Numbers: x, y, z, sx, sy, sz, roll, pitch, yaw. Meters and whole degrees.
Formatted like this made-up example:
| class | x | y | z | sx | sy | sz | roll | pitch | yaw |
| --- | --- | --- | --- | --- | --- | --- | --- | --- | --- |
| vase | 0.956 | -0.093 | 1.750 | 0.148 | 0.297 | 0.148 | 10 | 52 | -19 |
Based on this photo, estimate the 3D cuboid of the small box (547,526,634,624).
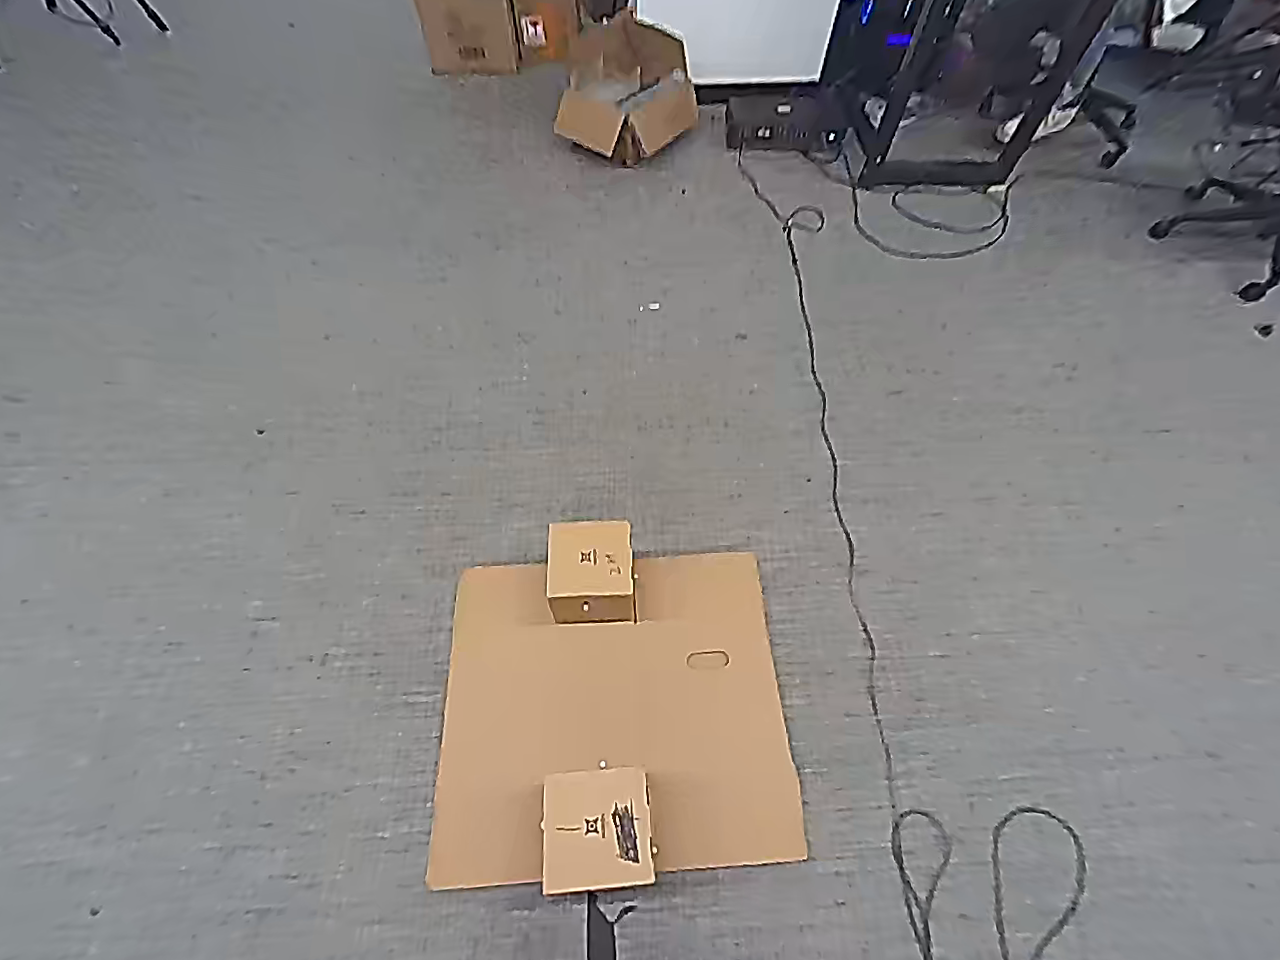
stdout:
| class | x | y | z | sx | sy | sz | roll | pitch | yaw |
| --- | --- | --- | --- | --- | --- | --- | --- | --- | --- |
| small box | -0.103 | 0.212 | 1.188 | 0.179 | 0.176 | 0.168 | 0 | 59 | -3 |

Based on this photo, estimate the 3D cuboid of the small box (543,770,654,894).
| class | x | y | z | sx | sy | sz | roll | pitch | yaw |
| --- | --- | --- | --- | --- | --- | --- | --- | --- | --- |
| small box | -0.072 | 0.609 | 0.952 | 0.179 | 0.176 | 0.168 | -3 | 60 | -3 |
